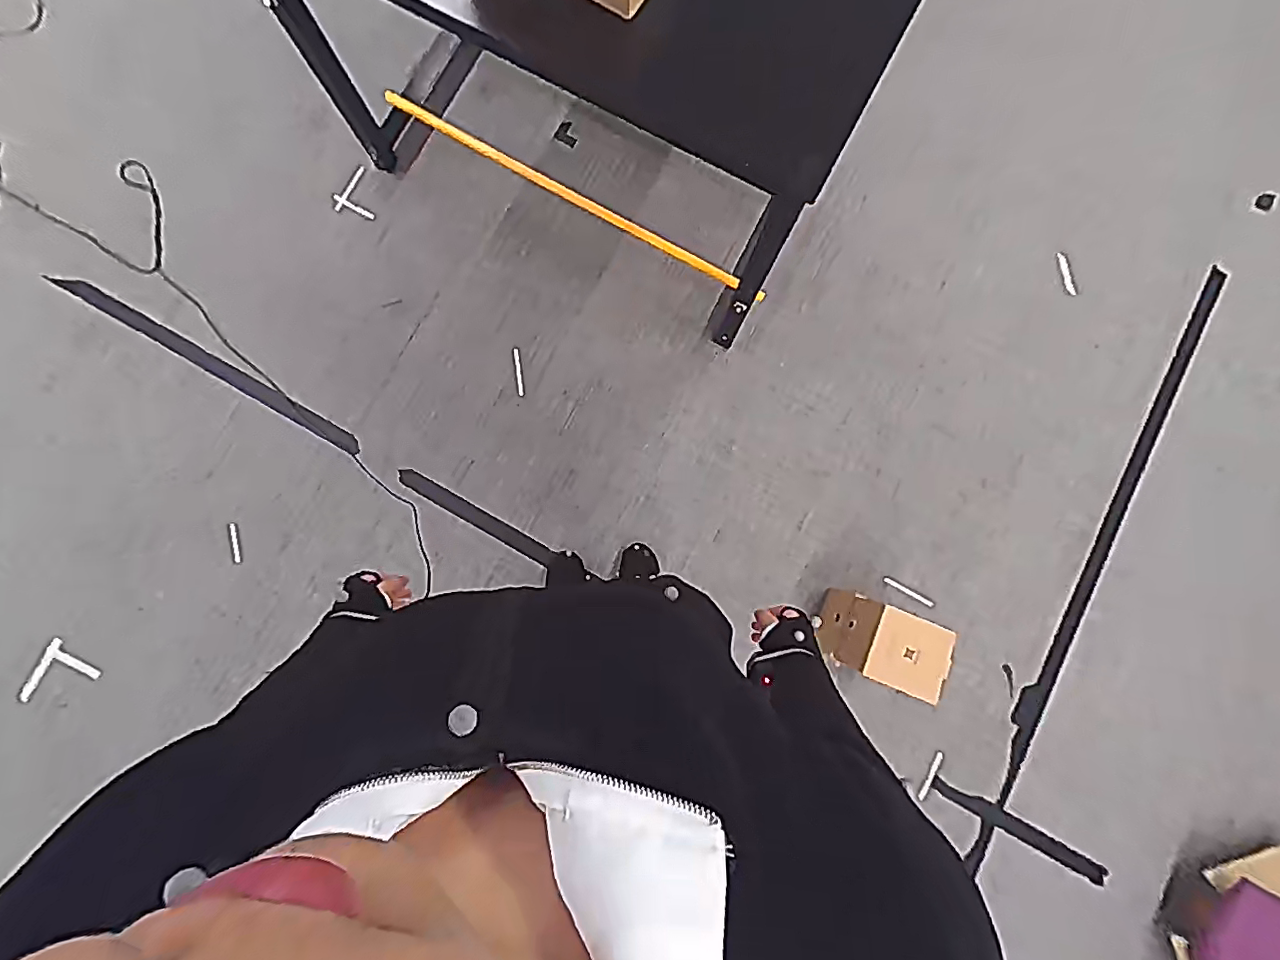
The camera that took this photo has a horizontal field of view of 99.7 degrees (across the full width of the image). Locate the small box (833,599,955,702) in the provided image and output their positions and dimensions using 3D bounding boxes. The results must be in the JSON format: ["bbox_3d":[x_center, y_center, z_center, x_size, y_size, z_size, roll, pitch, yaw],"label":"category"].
[{"bbox_3d":[0.584,0.386,1.261,0.179,0.176,0.168,22,82,2],"label":"small box"}]

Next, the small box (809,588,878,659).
[{"bbox_3d":[0.569,0.398,1.422,0.168,0.176,0.179,26,84,1],"label":"small box"}]
